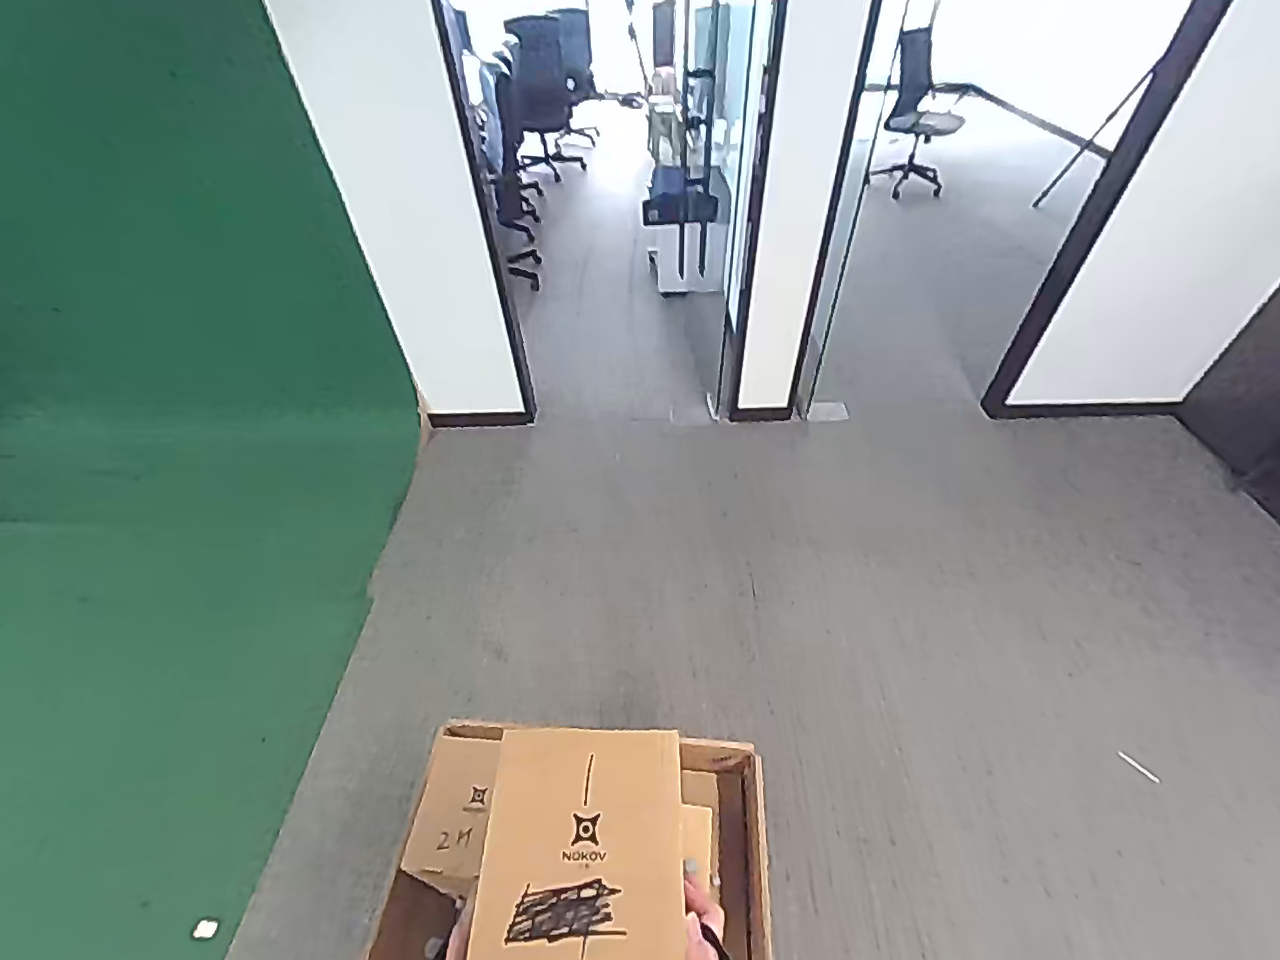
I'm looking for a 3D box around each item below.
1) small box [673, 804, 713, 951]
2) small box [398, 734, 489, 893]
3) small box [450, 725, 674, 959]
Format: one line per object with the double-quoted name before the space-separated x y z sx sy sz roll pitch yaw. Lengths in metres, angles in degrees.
"small box" 0.032 0.662 0.910 0.168 0.176 0.179 4 47 6
"small box" -0.235 0.518 0.830 0.168 0.176 0.179 2 46 5
"small box" -0.052 0.339 0.495 0.168 0.176 0.179 0 50 1
